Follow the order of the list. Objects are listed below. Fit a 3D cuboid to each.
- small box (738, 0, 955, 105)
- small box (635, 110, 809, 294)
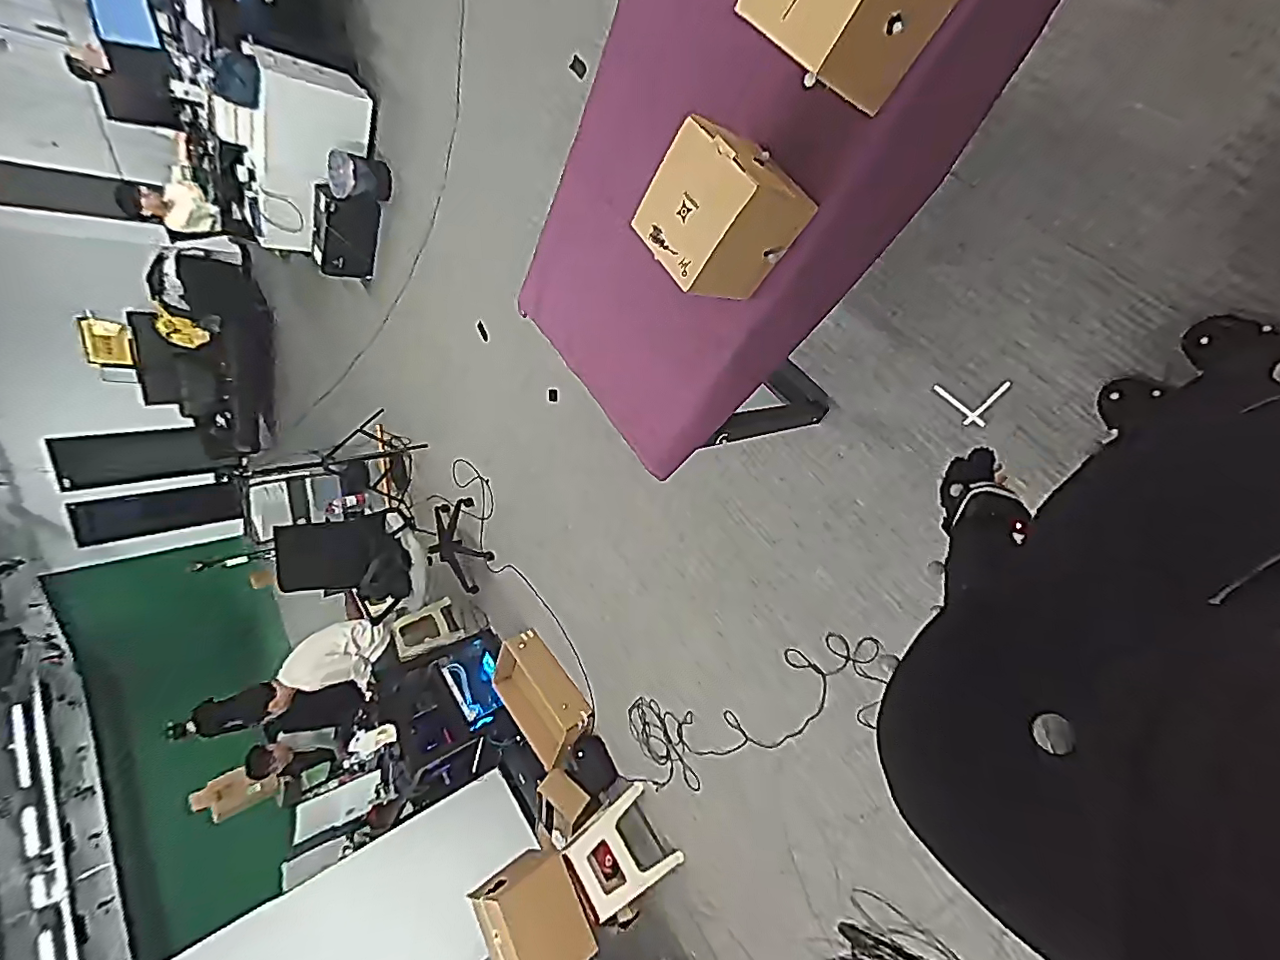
[{"bbox_3d":[0.260,-0.599,0.645,0.168,0.176,0.179,57,135,21],"label":"small box"},{"bbox_3d":[0.130,-0.410,0.827,0.168,0.176,0.179,58,133,20],"label":"small box"}]
